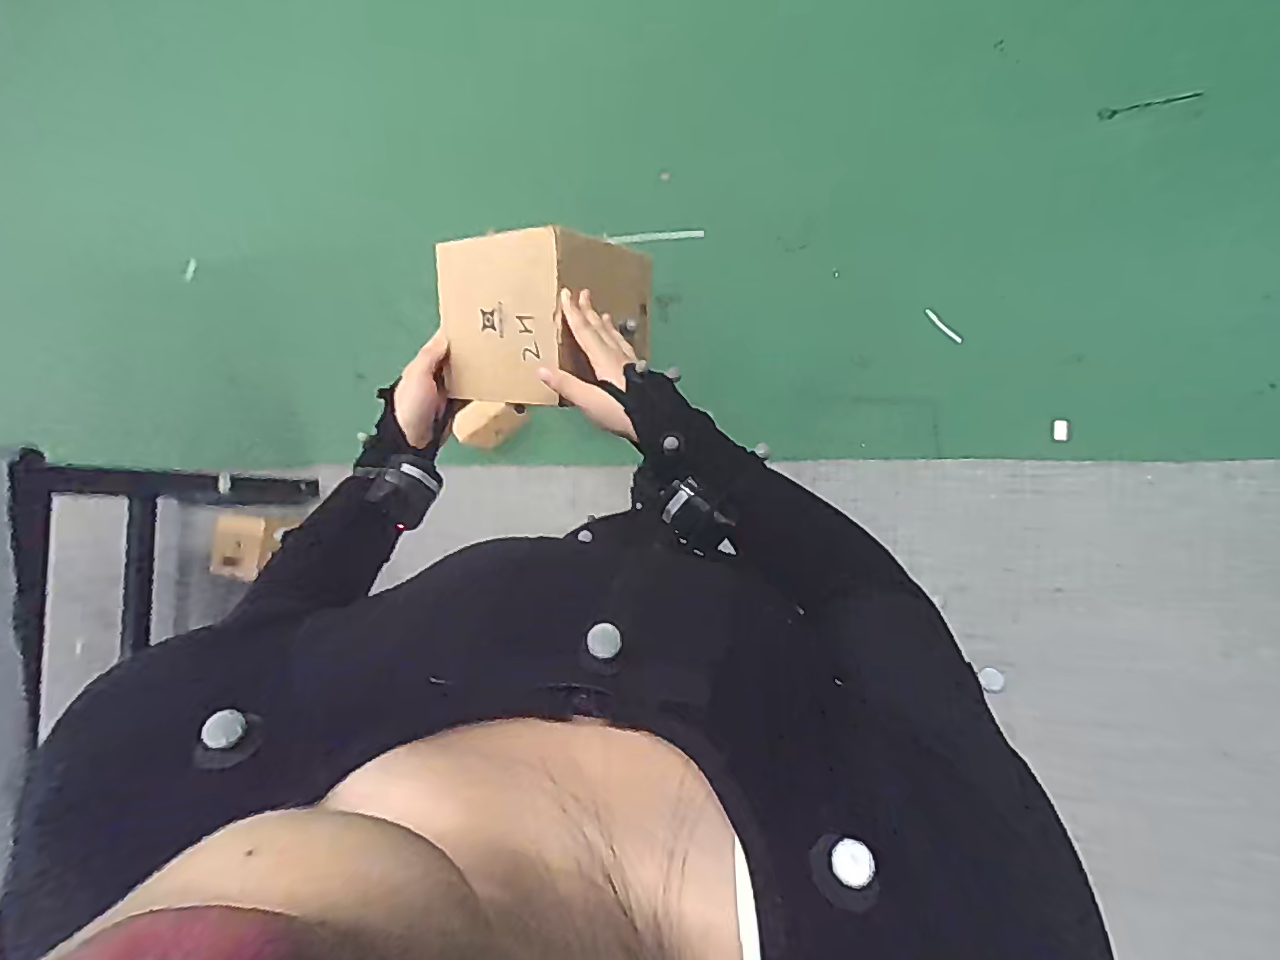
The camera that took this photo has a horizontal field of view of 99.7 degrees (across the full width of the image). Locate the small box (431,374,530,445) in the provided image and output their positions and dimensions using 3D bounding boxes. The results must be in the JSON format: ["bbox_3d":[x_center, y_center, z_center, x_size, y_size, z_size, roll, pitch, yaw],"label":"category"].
[{"bbox_3d":[-0.445,-0.216,1.528,0.168,0.176,0.179,-36,82,7],"label":"small box"}]

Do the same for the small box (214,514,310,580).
[{"bbox_3d":[-1.144,0.199,1.646,0.168,0.176,0.179,5,87,11],"label":"small box"}]

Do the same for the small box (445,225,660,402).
[{"bbox_3d":[-0.096,-0.181,0.620,0.179,0.176,0.168,9,105,31],"label":"small box"}]
